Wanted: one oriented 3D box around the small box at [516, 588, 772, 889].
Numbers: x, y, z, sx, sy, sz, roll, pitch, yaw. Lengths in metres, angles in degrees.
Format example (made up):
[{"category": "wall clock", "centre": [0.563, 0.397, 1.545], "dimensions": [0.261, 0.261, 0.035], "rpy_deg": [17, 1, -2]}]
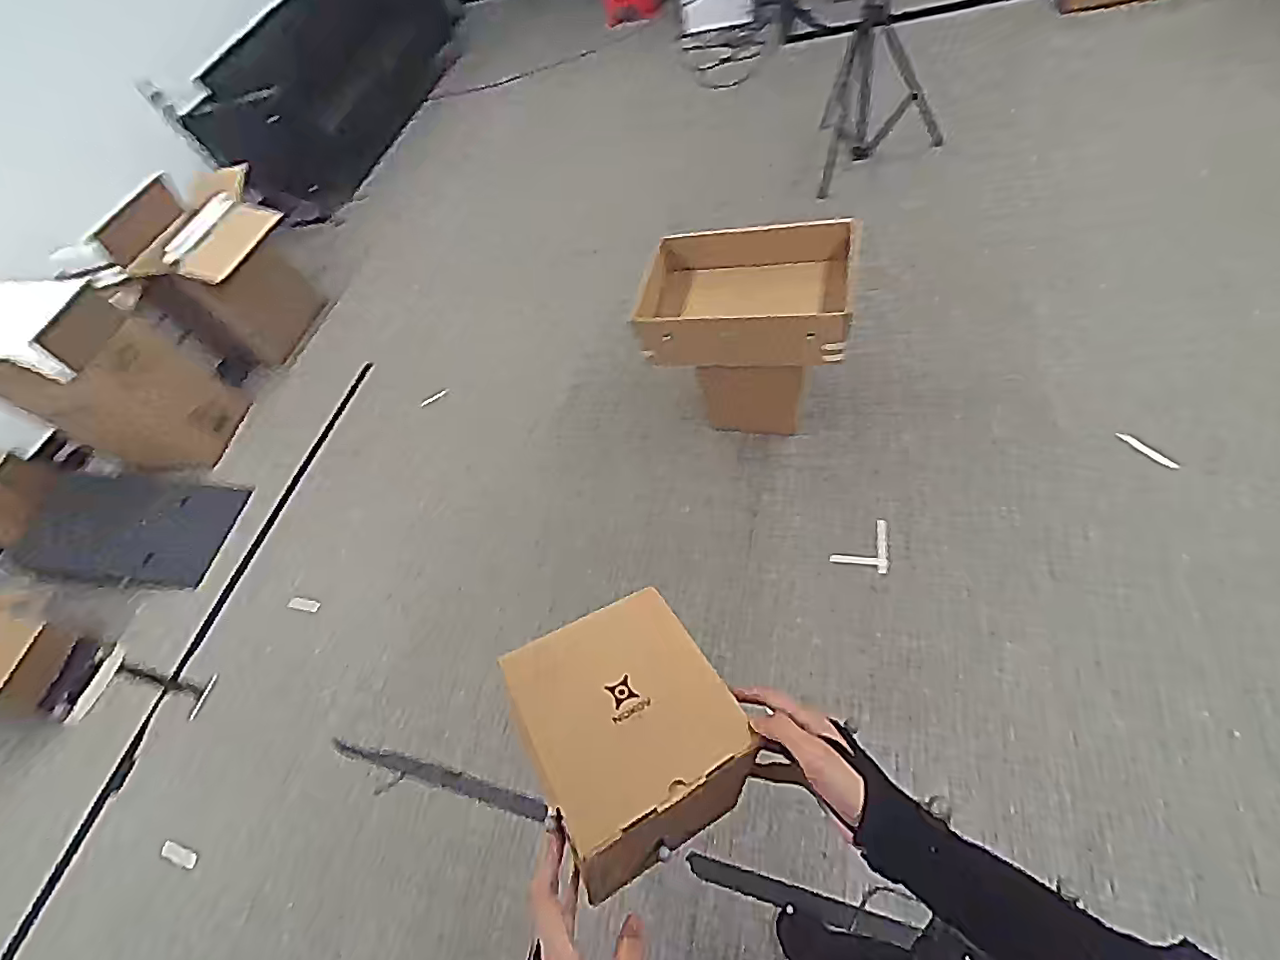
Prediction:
[{"category": "small box", "centre": [-0.007, 0.243, 0.519], "dimensions": [0.168, 0.176, 0.179], "rpy_deg": [-20, 49, -23]}]
